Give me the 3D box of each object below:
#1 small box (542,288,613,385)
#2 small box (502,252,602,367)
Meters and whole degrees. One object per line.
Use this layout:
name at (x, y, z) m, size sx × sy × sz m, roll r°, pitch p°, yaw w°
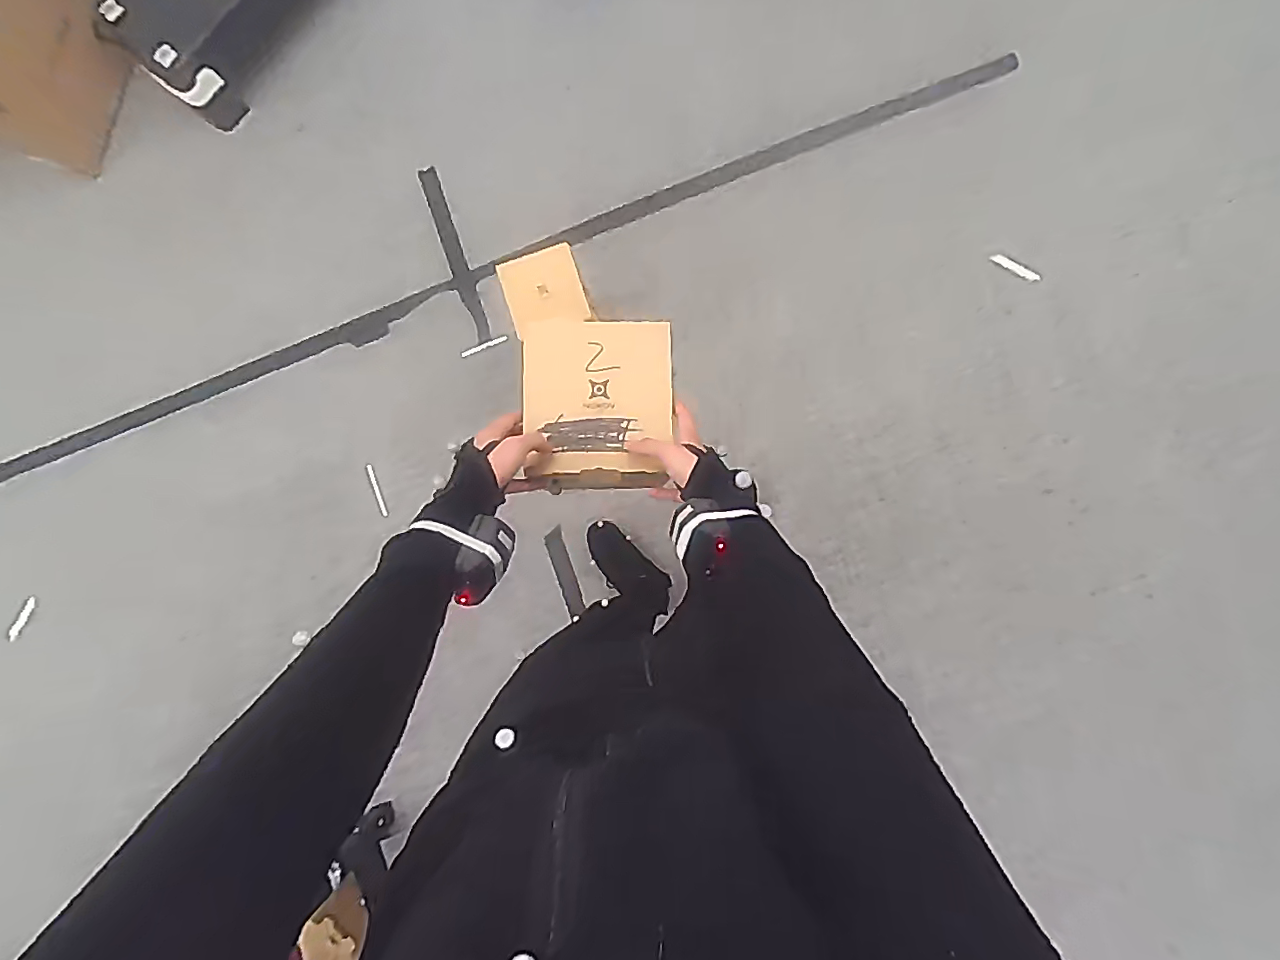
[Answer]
small box at (-0.178, -0.364, 1.397) m, size 0.179 × 0.176 × 0.168 m, roll -23°, pitch 87°, yaw 3°
small box at (-0.193, -0.380, 1.236) m, size 0.168 × 0.176 × 0.179 m, roll -18°, pitch 88°, yaw 2°
